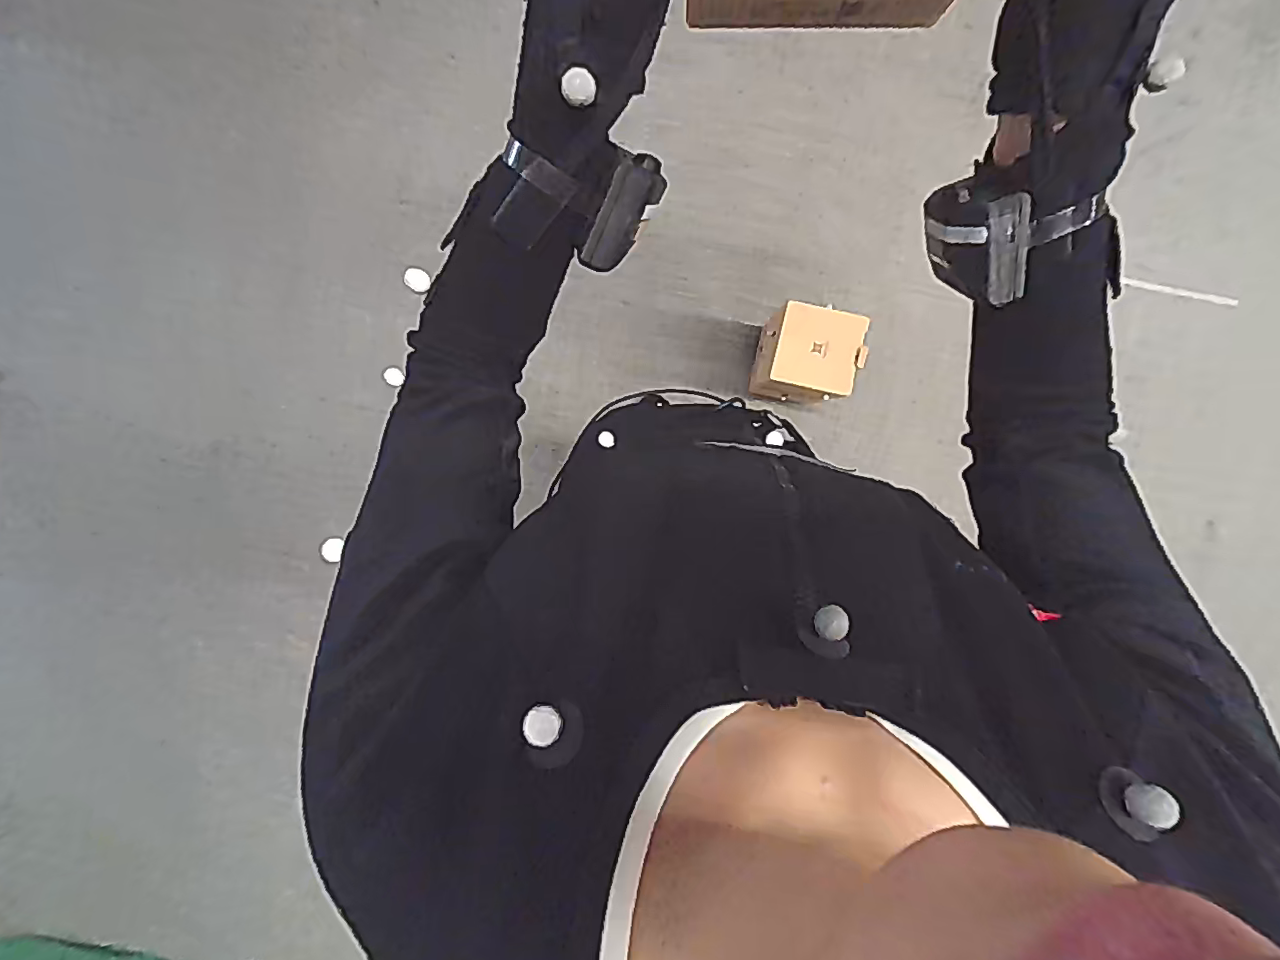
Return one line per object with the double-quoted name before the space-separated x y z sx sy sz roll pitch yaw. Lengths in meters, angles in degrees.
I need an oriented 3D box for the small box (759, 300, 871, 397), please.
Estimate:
"small box" 0.373 -0.279 1.187 0.179 0.176 0.168 12 97 0
